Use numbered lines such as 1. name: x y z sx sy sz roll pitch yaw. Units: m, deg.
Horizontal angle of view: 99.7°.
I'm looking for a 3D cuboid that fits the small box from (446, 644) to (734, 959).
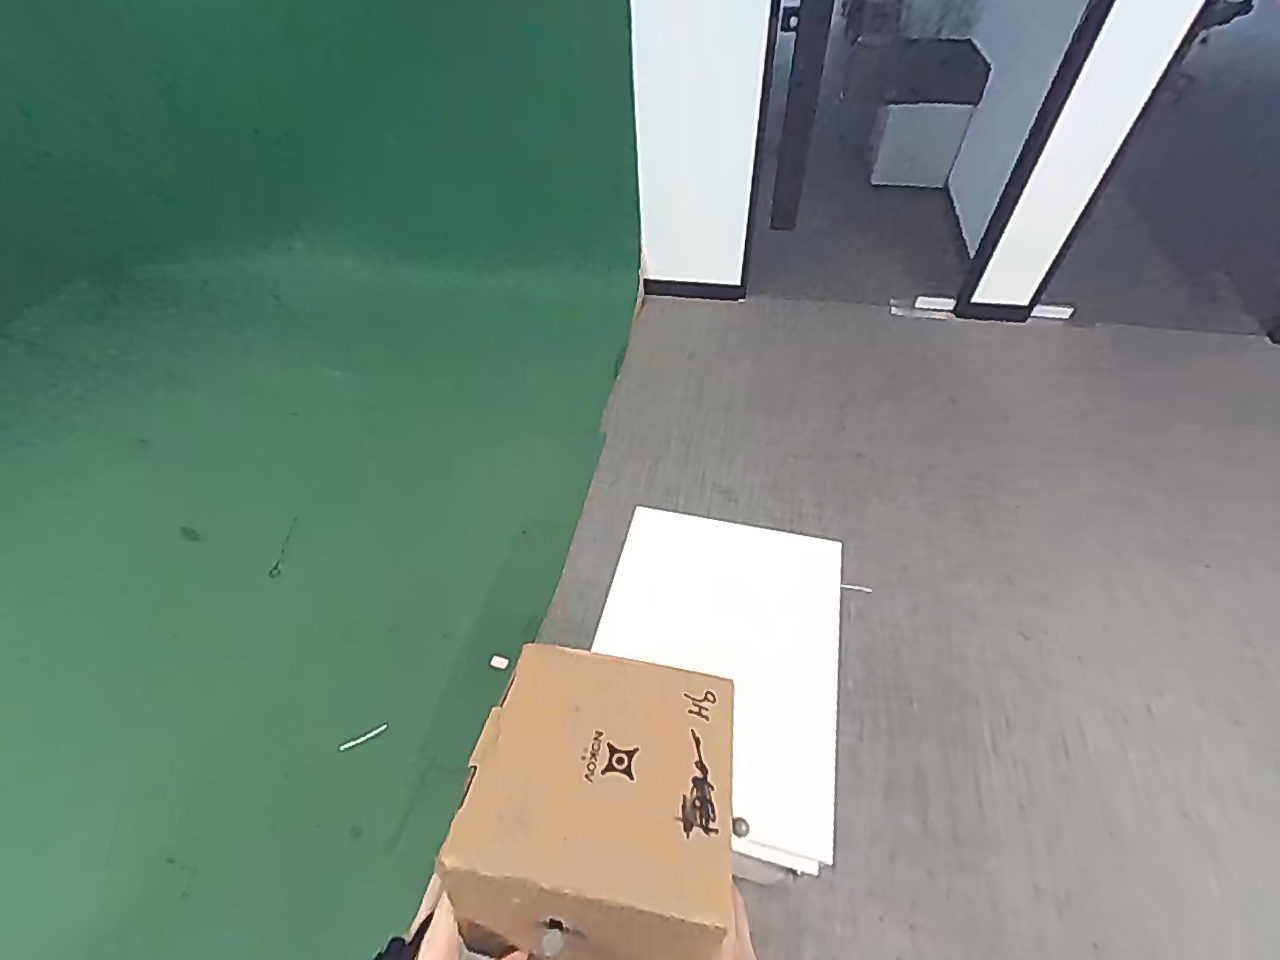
1. small box: -0.026 0.260 0.428 0.179 0.176 0.168 8 35 5
